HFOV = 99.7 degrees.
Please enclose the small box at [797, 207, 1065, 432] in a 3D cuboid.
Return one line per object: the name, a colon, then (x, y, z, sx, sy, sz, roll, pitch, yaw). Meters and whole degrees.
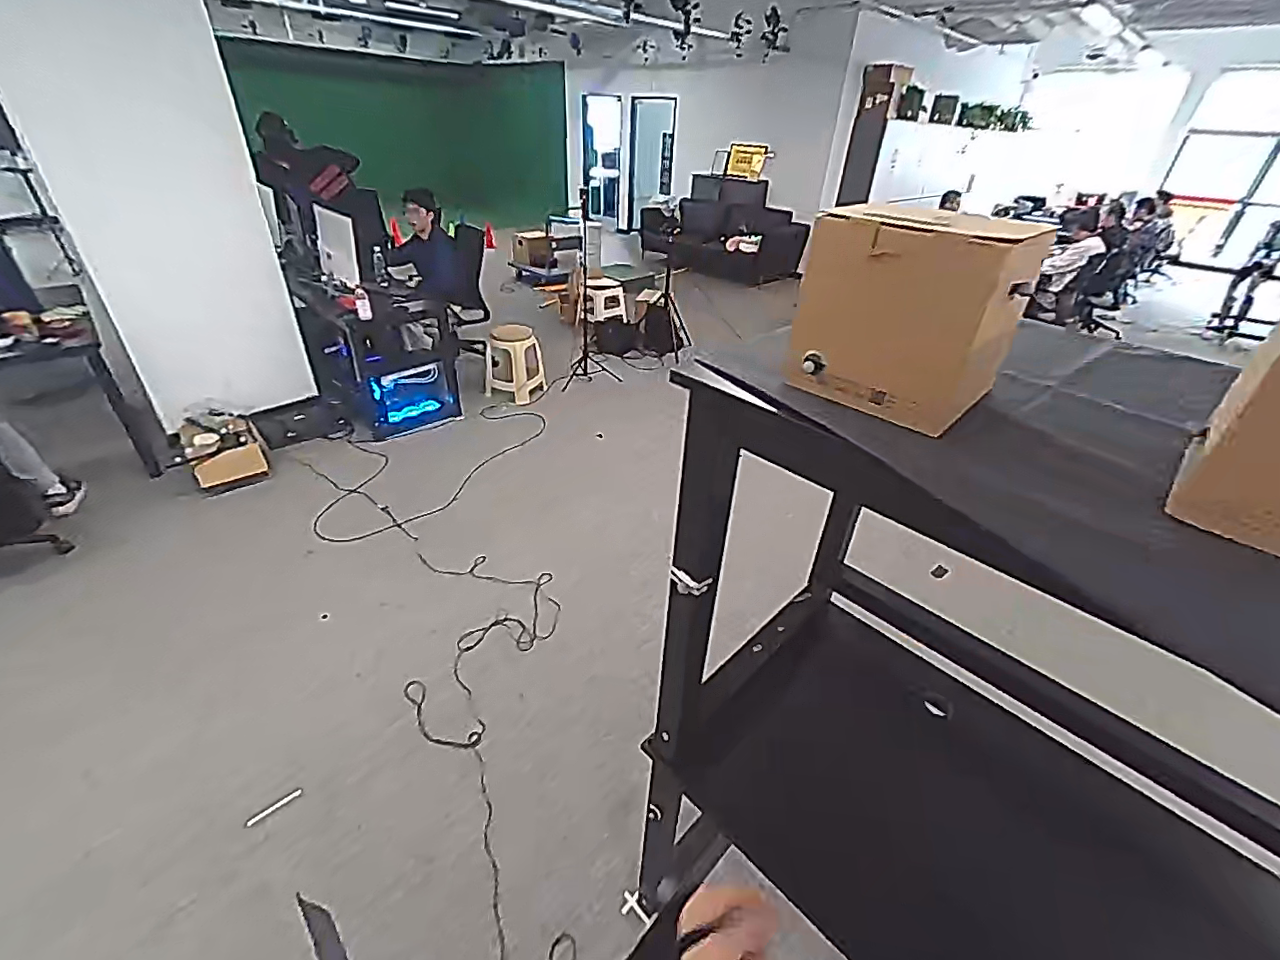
small box: (0.275, -0.166, 0.539, 0.168, 0.176, 0.179, 30, 41, 34)
